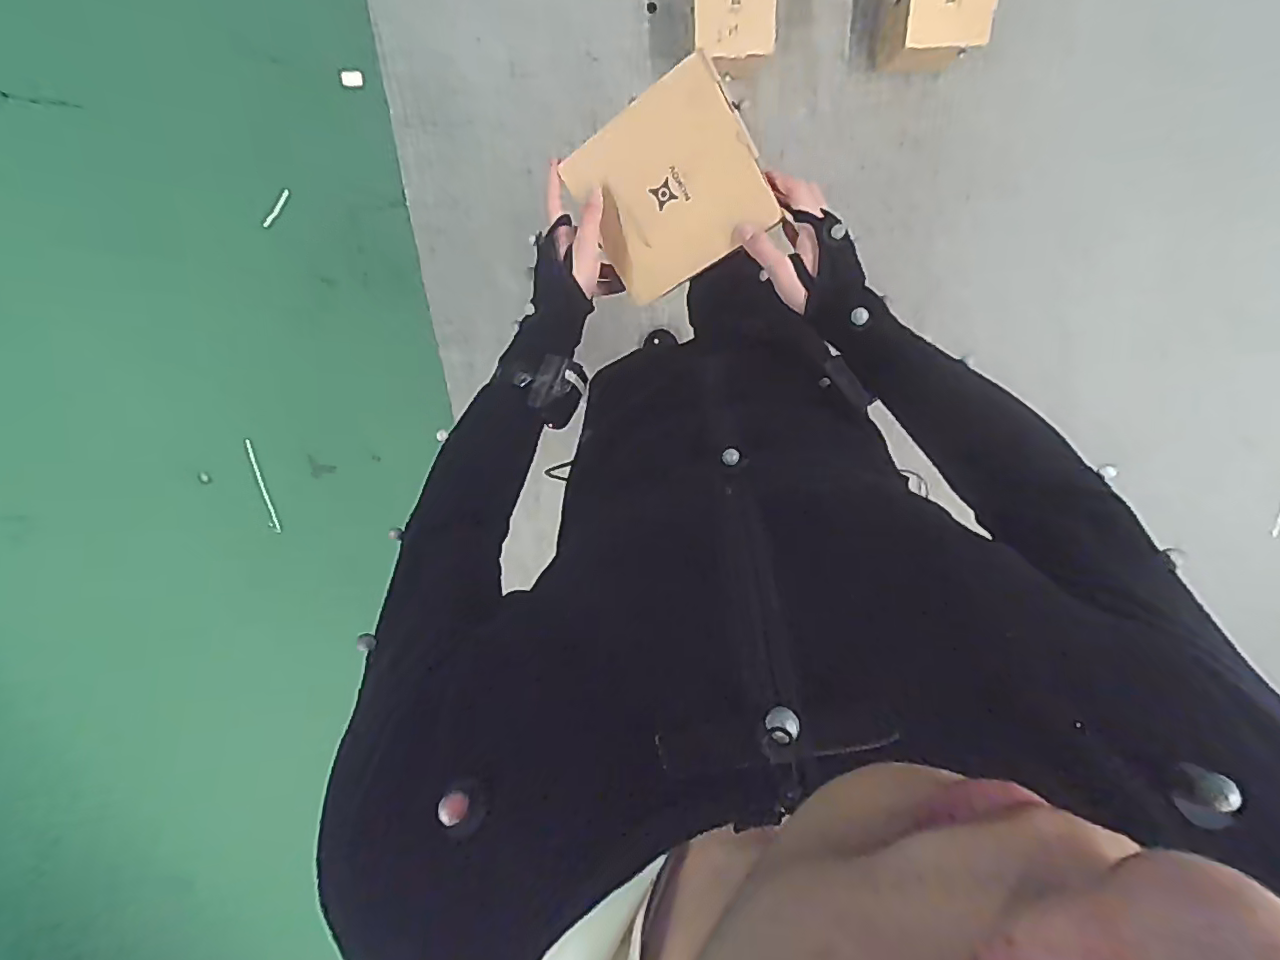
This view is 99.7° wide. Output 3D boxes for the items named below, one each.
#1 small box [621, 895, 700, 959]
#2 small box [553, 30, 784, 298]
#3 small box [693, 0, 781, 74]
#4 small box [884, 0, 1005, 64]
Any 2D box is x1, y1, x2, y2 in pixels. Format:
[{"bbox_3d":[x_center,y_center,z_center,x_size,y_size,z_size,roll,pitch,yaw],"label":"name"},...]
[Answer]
[{"bbox_3d":[0.048,1.086,1.237,0.179,0.176,0.168,-3,113,2],"label":"small box"},{"bbox_3d":[0.043,-0.325,0.589,0.179,0.176,0.168,-25,106,26],"label":"small box"},{"bbox_3d":[0.200,-0.991,1.143,0.168,0.176,0.179,-2,113,3],"label":"small box"},{"bbox_3d":[0.634,-0.997,1.132,0.179,0.176,0.168,-2,113,1],"label":"small box"}]
